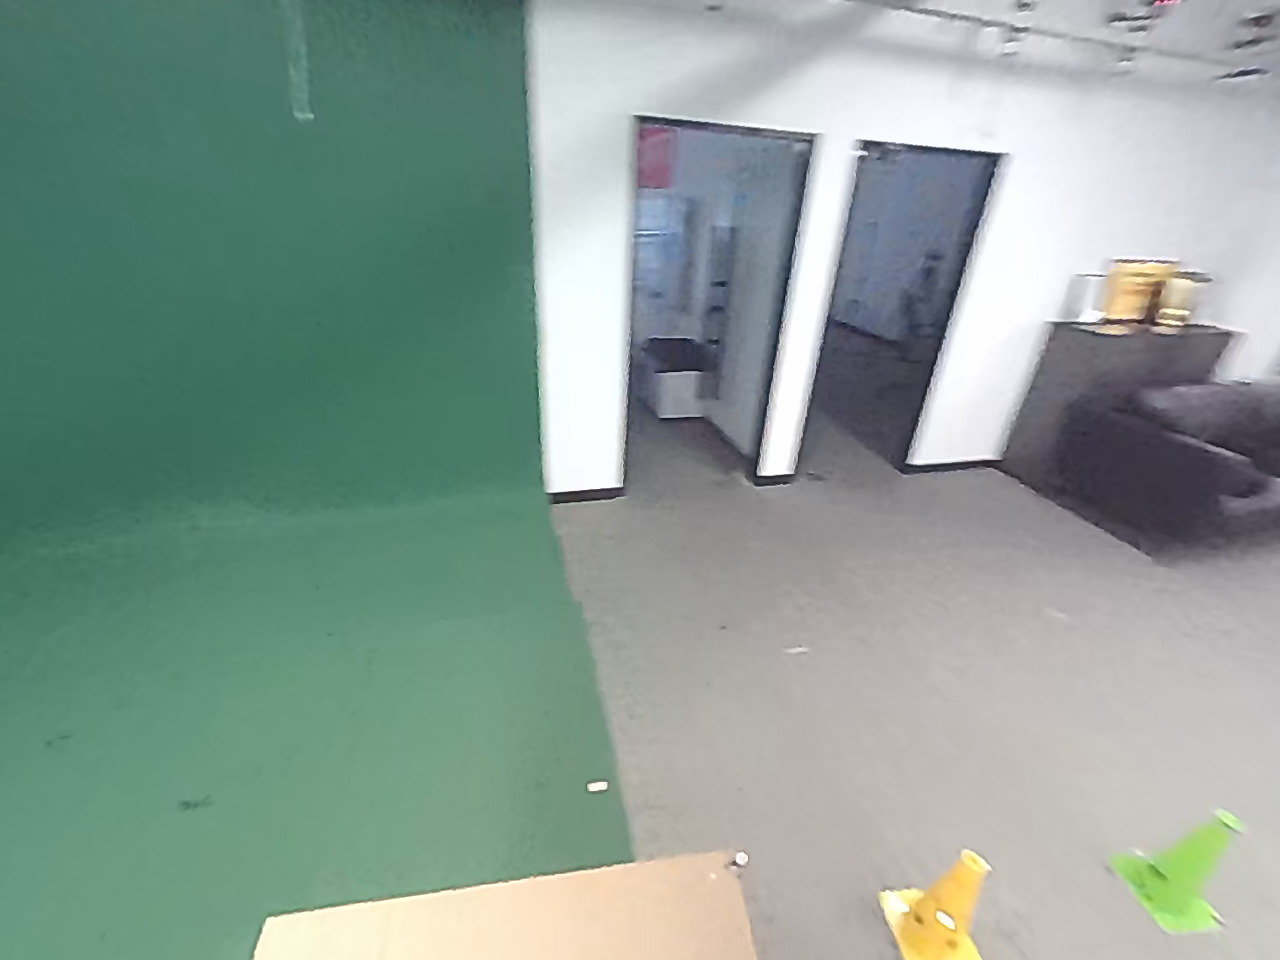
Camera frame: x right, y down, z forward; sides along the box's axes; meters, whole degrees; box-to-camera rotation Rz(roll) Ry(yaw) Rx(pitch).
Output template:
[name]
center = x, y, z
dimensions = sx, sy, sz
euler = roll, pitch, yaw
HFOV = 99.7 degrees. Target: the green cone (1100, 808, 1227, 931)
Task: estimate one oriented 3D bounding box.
[green cone]
center = 1.507, 1.032, 1.498
dimensions = 0.202, 0.368, 0.200
euler = -2, 28, -8
